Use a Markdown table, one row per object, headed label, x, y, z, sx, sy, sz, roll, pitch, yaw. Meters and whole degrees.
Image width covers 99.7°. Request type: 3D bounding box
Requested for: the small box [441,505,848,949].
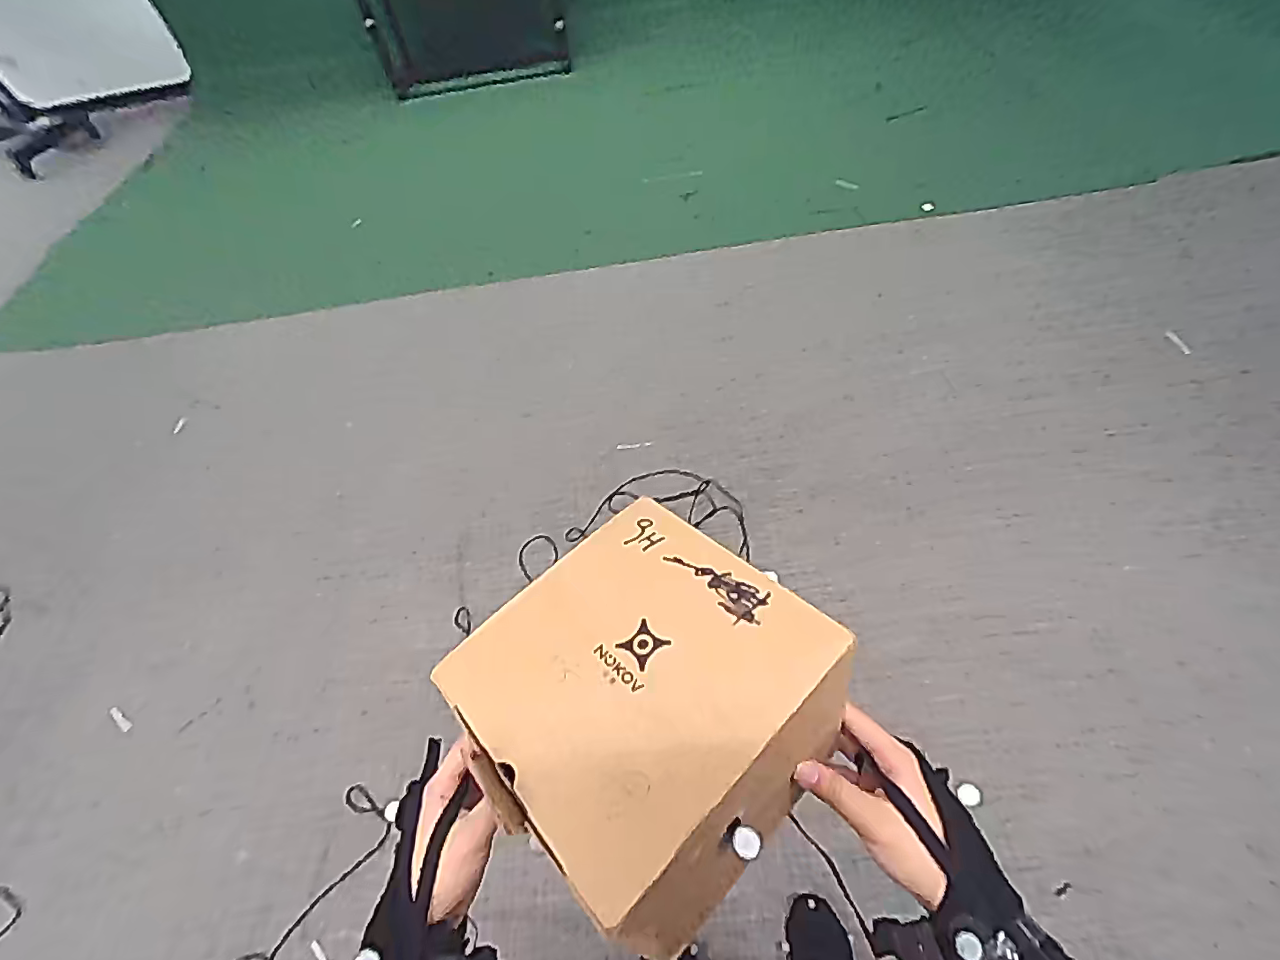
| label | x | y | z | sx | sy | sz | roll | pitch | yaw |
| --- | --- | --- | --- | --- | --- | --- | --- | --- | --- |
| small box | 0.013 | 0.156 | 0.354 | 0.179 | 0.176 | 0.168 | -39 | 49 | -21 |
